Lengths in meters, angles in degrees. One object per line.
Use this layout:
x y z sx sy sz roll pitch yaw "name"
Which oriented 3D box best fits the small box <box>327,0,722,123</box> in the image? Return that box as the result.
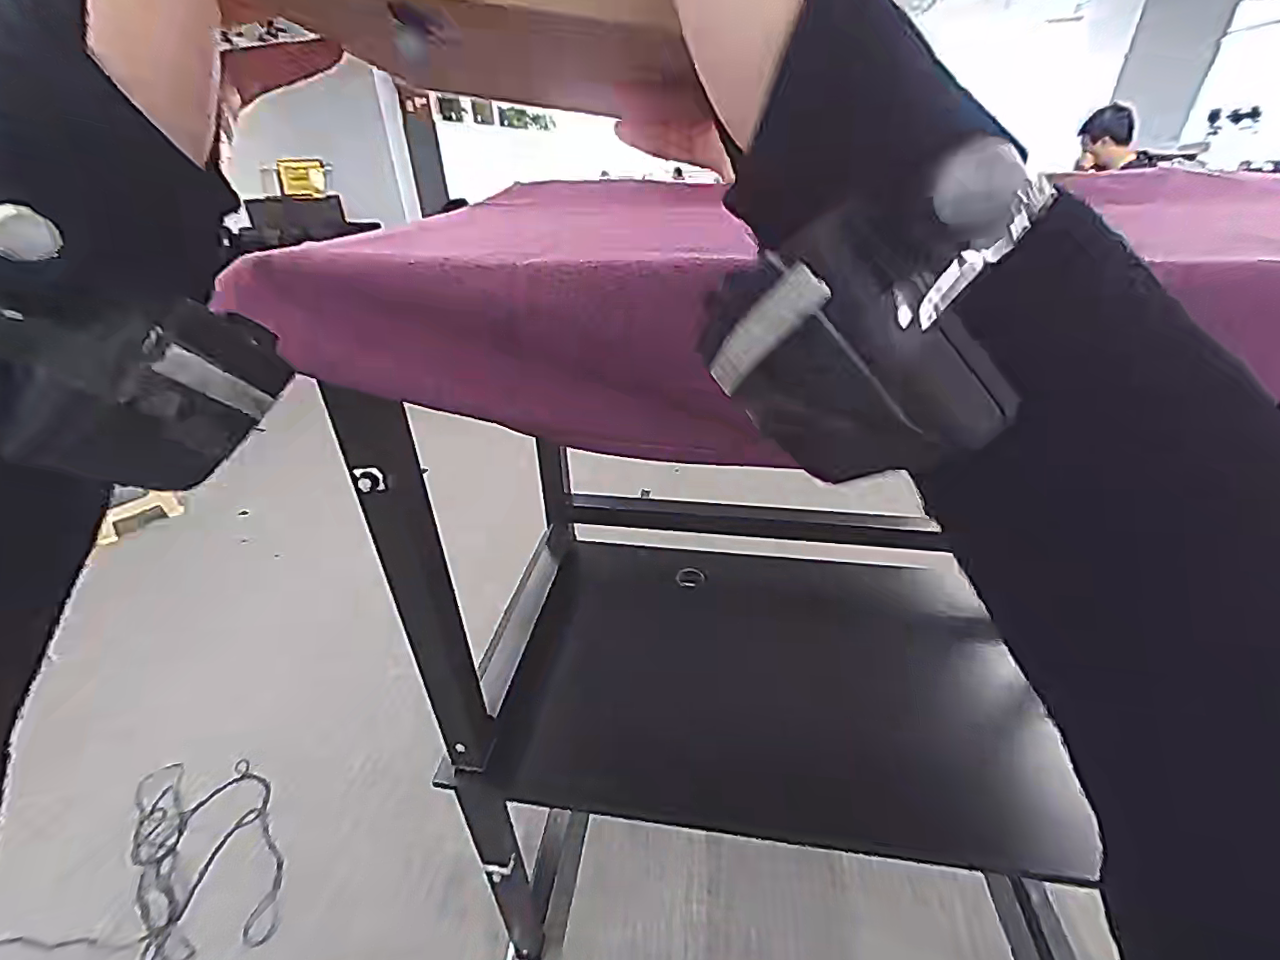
-0.043 -0.261 0.198 0.168 0.179 0.176 8 23 -1 "small box"
